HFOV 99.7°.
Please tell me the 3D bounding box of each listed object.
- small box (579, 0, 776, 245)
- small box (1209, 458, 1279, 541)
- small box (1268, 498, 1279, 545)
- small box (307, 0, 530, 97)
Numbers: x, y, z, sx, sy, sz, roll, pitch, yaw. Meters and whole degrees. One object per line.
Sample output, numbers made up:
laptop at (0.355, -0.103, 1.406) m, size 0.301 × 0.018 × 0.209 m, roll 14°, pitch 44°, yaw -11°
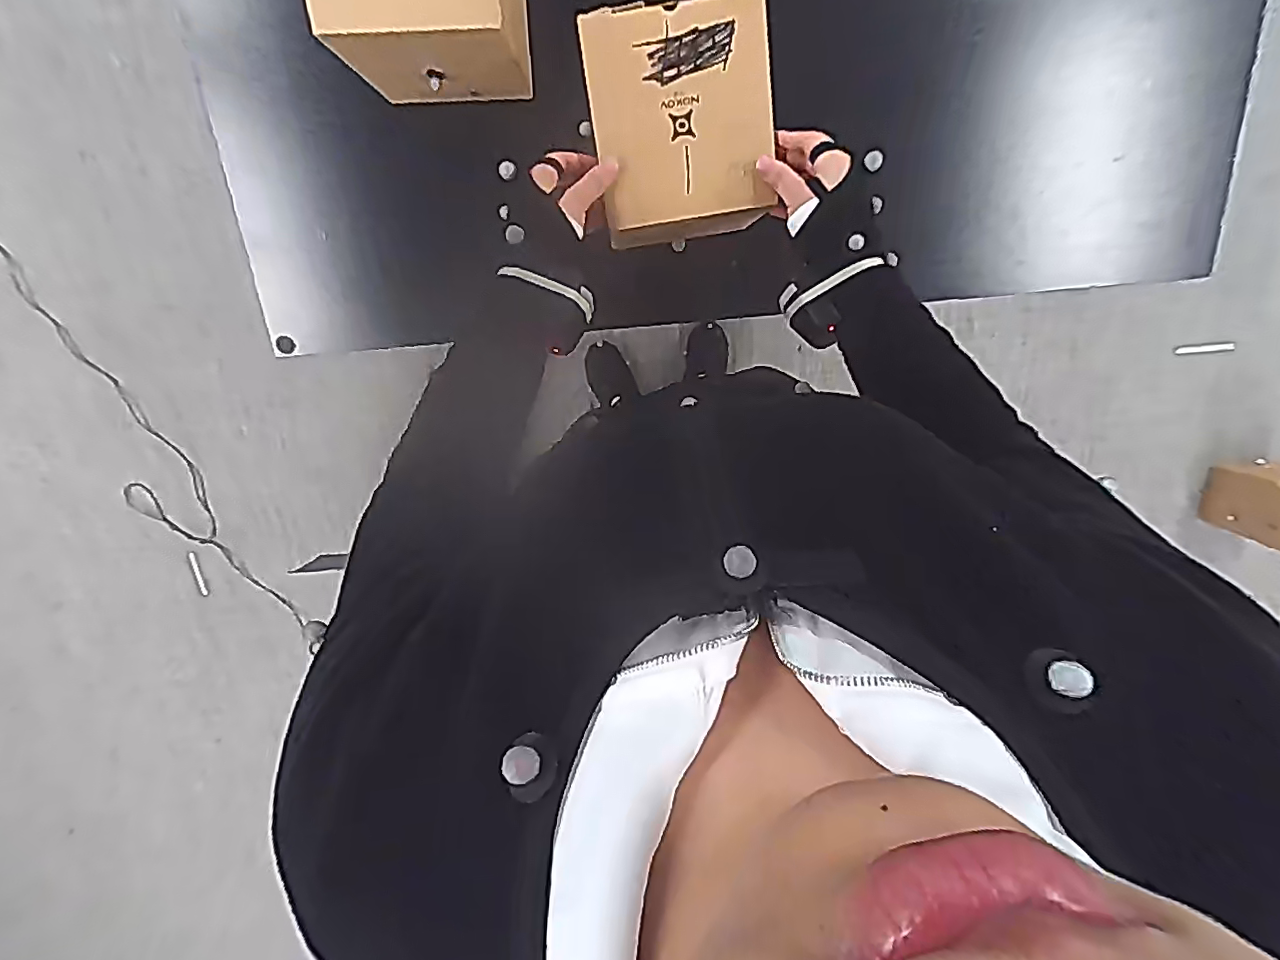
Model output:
small box at (0.036, -0.360, 0.567) m, size 0.168 × 0.176 × 0.179 m, roll -8°, pitch 108°, yaw 2°
small box at (1.726, 0.050, 1.474) m, size 0.168 × 0.176 × 0.179 m, roll -6°, pitch 107°, yaw 1°
small box at (1.726, 0.101, 1.318) m, size 0.179 × 0.176 × 0.168 m, roll -8°, pitch 108°, yaw 1°
small box at (-0.207, -0.496, 0.522) m, size 0.168 × 0.176 × 0.179 m, roll -3°, pitch 107°, yaw 0°
